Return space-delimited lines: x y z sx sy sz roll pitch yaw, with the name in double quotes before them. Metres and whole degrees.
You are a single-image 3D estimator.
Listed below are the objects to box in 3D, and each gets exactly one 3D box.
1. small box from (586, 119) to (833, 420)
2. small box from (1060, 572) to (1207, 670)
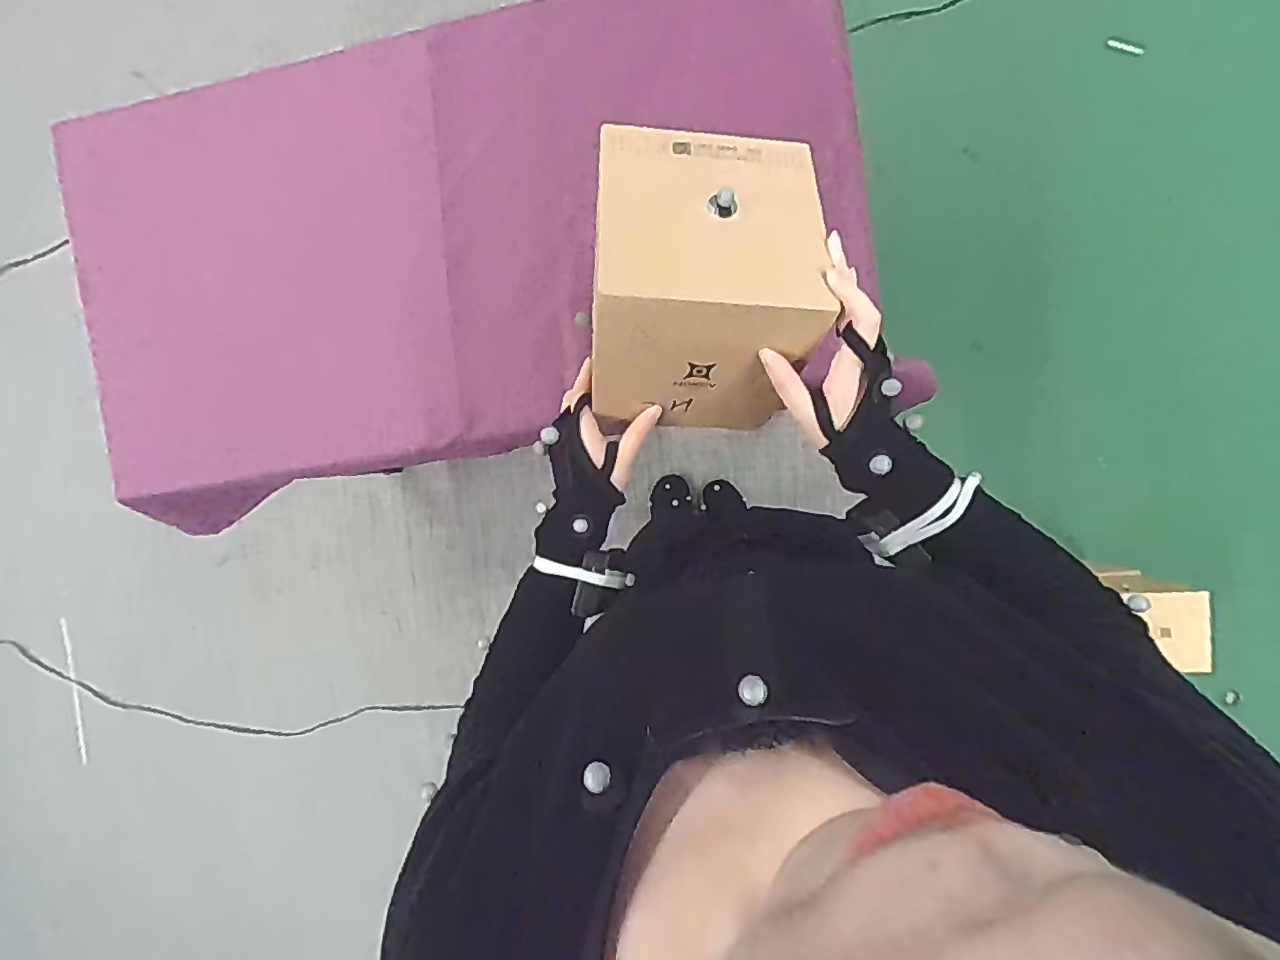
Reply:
"small box" 0.040 -0.169 0.463 0.168 0.179 0.176 3 68 -6
"small box" 1.056 0.297 1.169 0.179 0.176 0.168 -3 92 7
